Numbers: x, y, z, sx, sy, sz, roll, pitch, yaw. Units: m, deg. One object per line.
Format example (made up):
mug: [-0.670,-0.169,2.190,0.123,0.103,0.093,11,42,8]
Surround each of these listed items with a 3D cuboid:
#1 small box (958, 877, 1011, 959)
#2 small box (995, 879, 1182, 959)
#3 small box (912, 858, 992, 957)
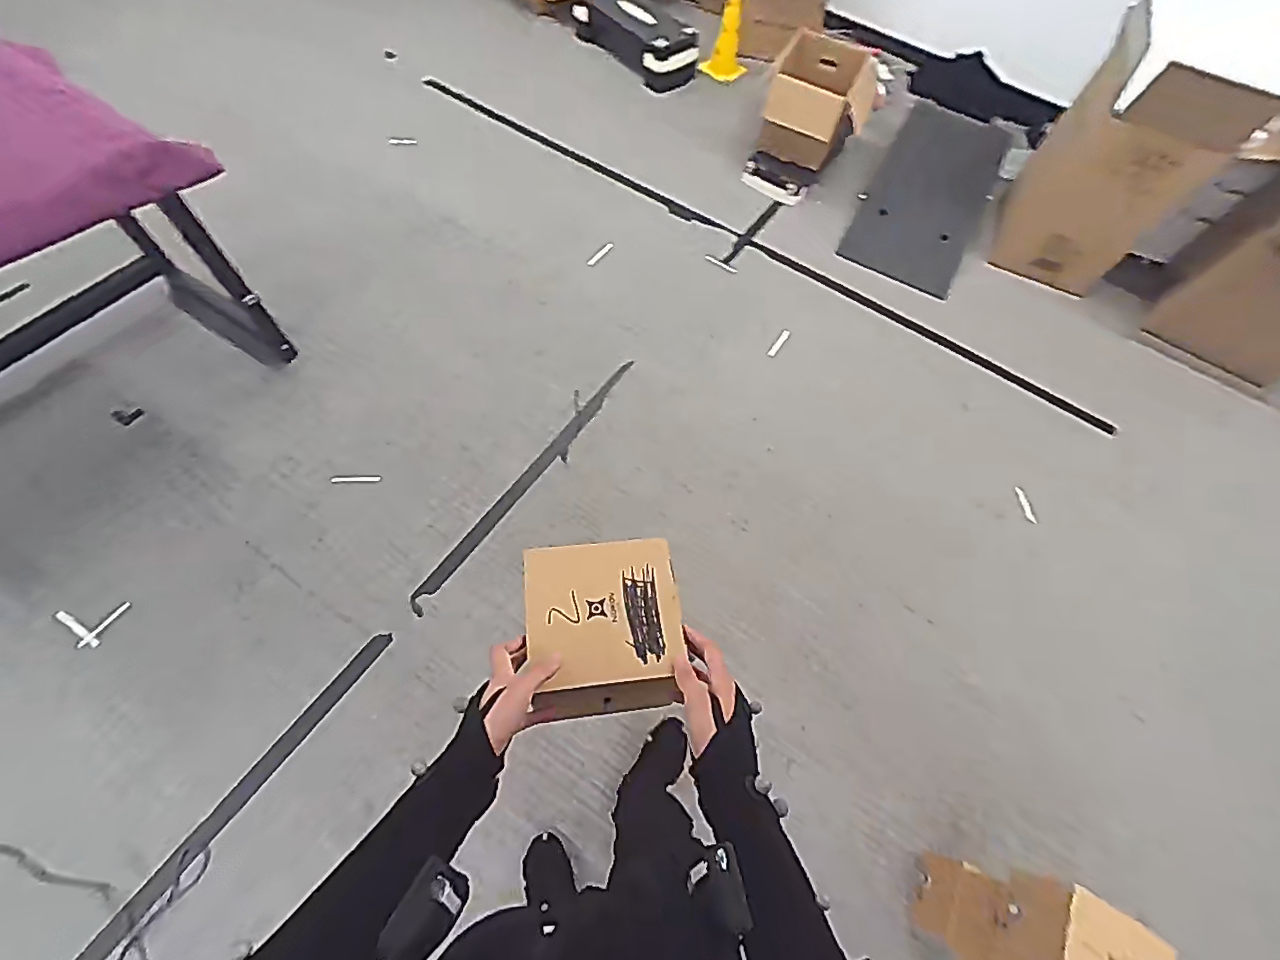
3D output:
small box: [0.773,0.939,1.081,0.168,0.176,0.179,28,64,9]
small box: [0.776,0.841,0.946,0.179,0.176,0.168,31,63,11]
small box: [0.763,1.001,1.233,0.179,0.176,0.168,29,64,9]
